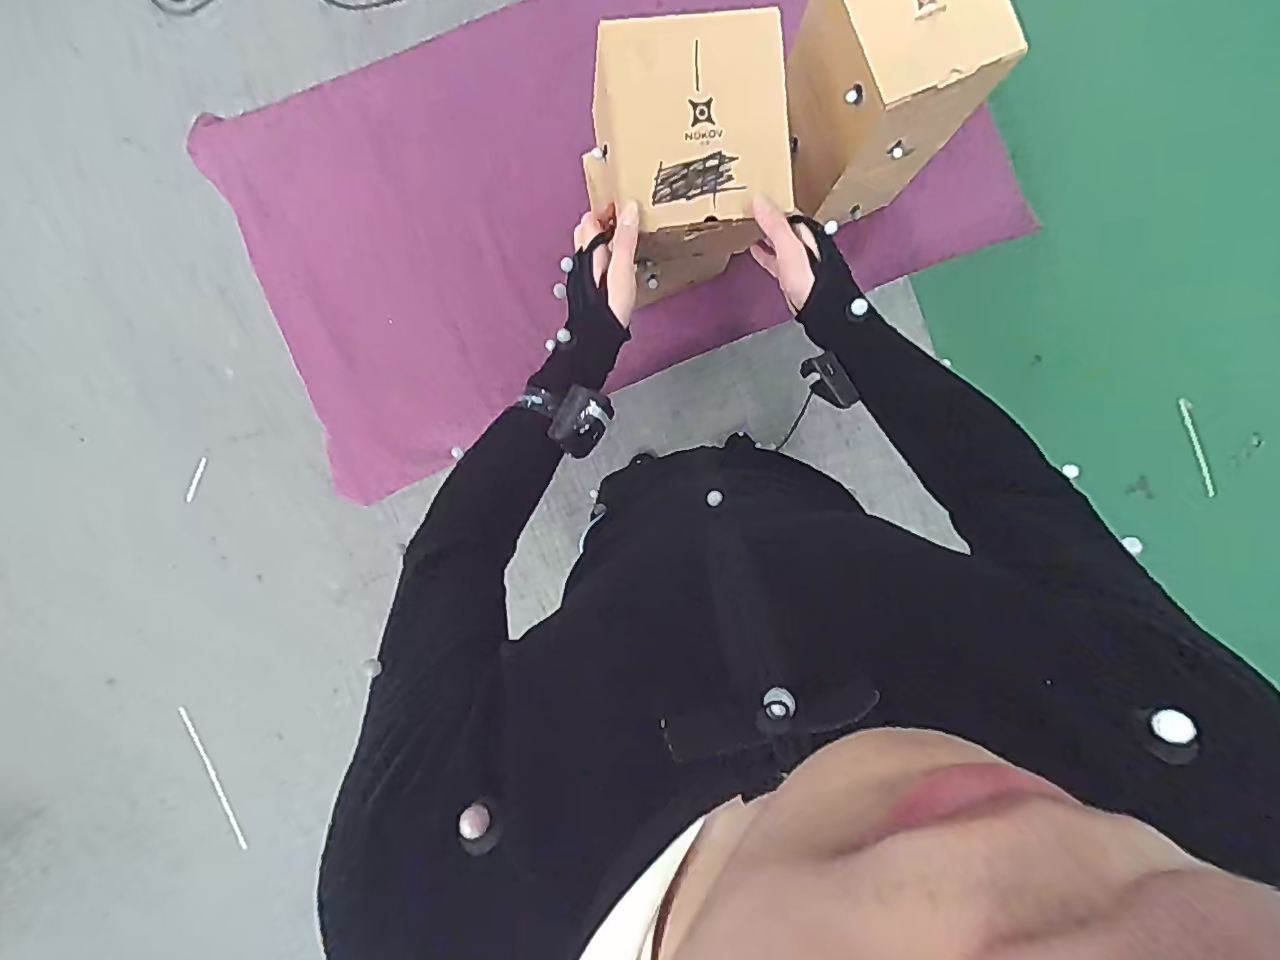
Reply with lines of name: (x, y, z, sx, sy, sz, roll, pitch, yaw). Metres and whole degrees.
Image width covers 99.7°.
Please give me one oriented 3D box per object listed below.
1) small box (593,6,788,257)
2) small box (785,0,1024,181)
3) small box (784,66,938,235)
small box: (0.044, -0.340, 0.565, 0.168, 0.176, 0.179, -8, 103, -6)
small box: (0.294, -0.504, 0.643, 0.168, 0.176, 0.179, -22, 92, 0)
small box: (0.295, -0.505, 0.806, 0.168, 0.176, 0.179, -23, 91, 1)
